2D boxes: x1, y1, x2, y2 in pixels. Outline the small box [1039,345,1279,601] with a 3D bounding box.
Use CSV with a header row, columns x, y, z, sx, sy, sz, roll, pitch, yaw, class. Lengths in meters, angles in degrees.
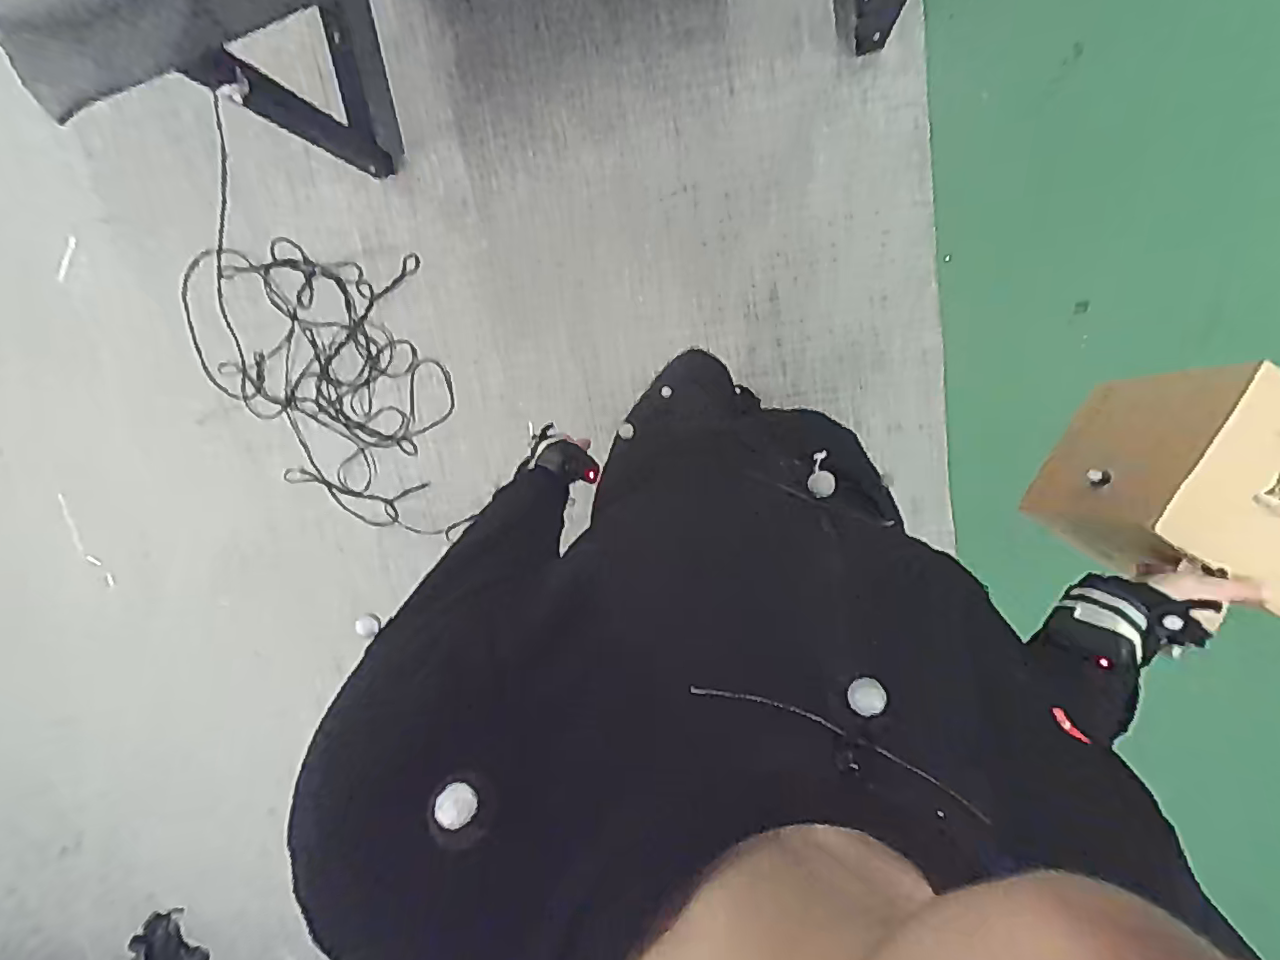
x,y,z,sx,sy,sz,roll,pitch,yaw,class
0.557,-0.006,0.543,0.168,0.176,0.179,30,93,-4,small box
